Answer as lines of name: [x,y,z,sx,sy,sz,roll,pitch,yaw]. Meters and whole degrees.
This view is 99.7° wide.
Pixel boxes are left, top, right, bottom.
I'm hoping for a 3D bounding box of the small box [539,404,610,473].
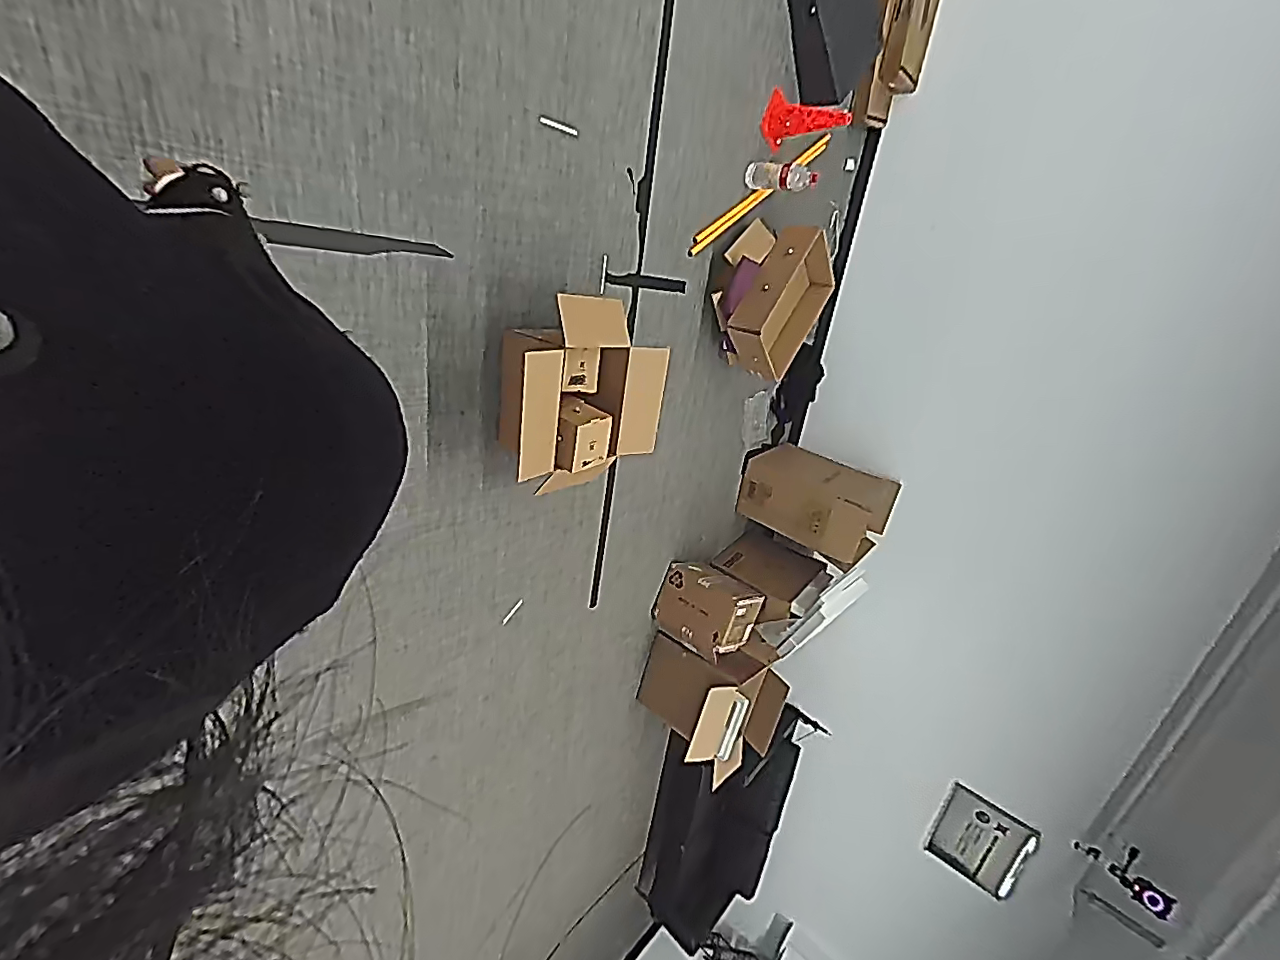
small box: [-0.225,-0.148,1.832,0.168,0.176,0.179,-22,130,-47]
